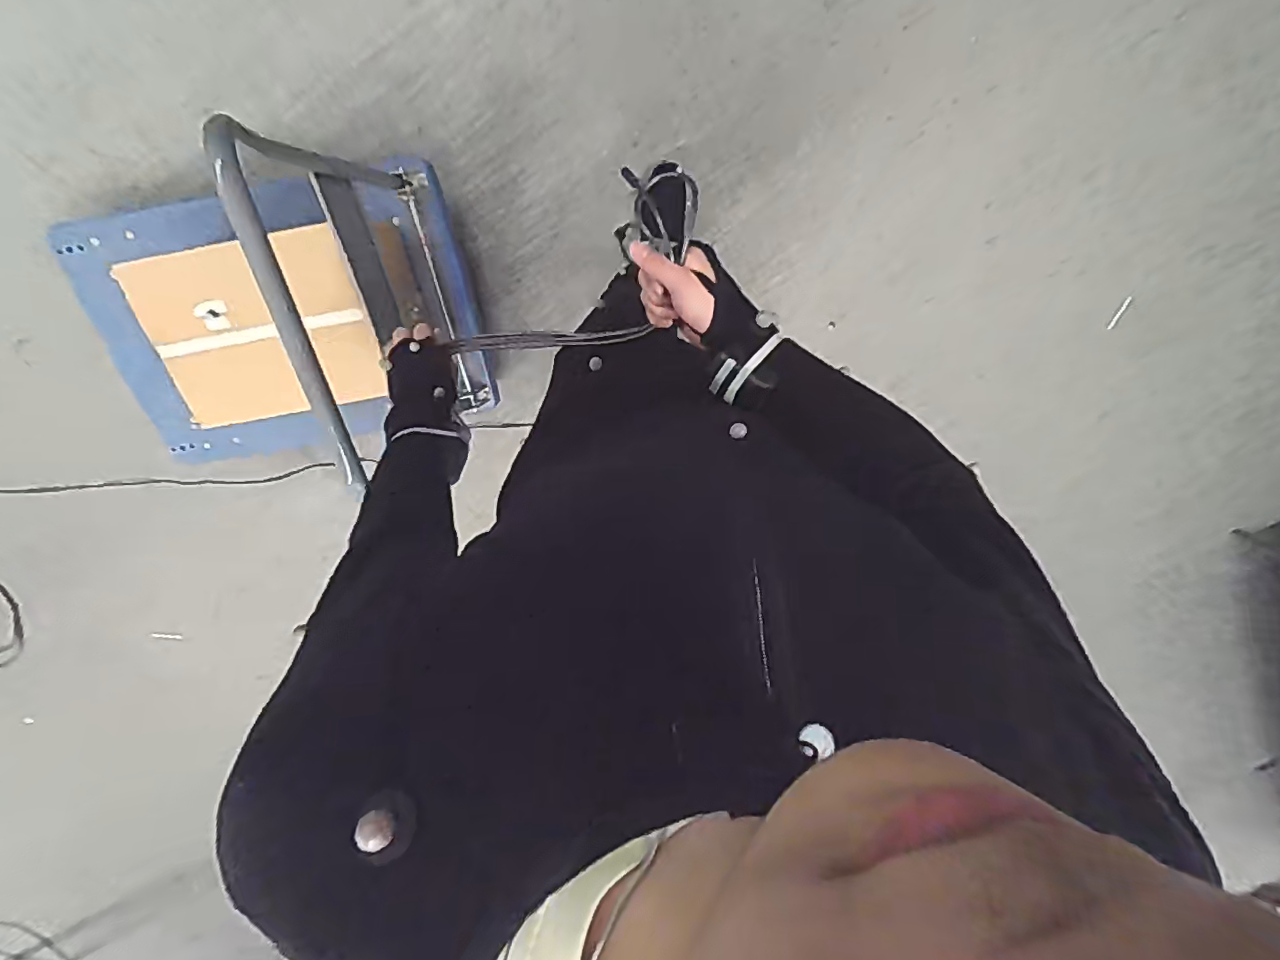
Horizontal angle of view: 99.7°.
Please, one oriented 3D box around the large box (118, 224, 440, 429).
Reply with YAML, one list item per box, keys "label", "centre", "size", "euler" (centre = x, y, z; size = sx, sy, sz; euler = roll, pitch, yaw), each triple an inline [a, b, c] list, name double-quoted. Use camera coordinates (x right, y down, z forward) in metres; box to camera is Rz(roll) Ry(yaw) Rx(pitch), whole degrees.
- label: "large box"
  centre: [-0.701, -0.335, 1.134]
  size: [0.408, 0.320, 0.320]
  euler: [-9, 114, 3]
